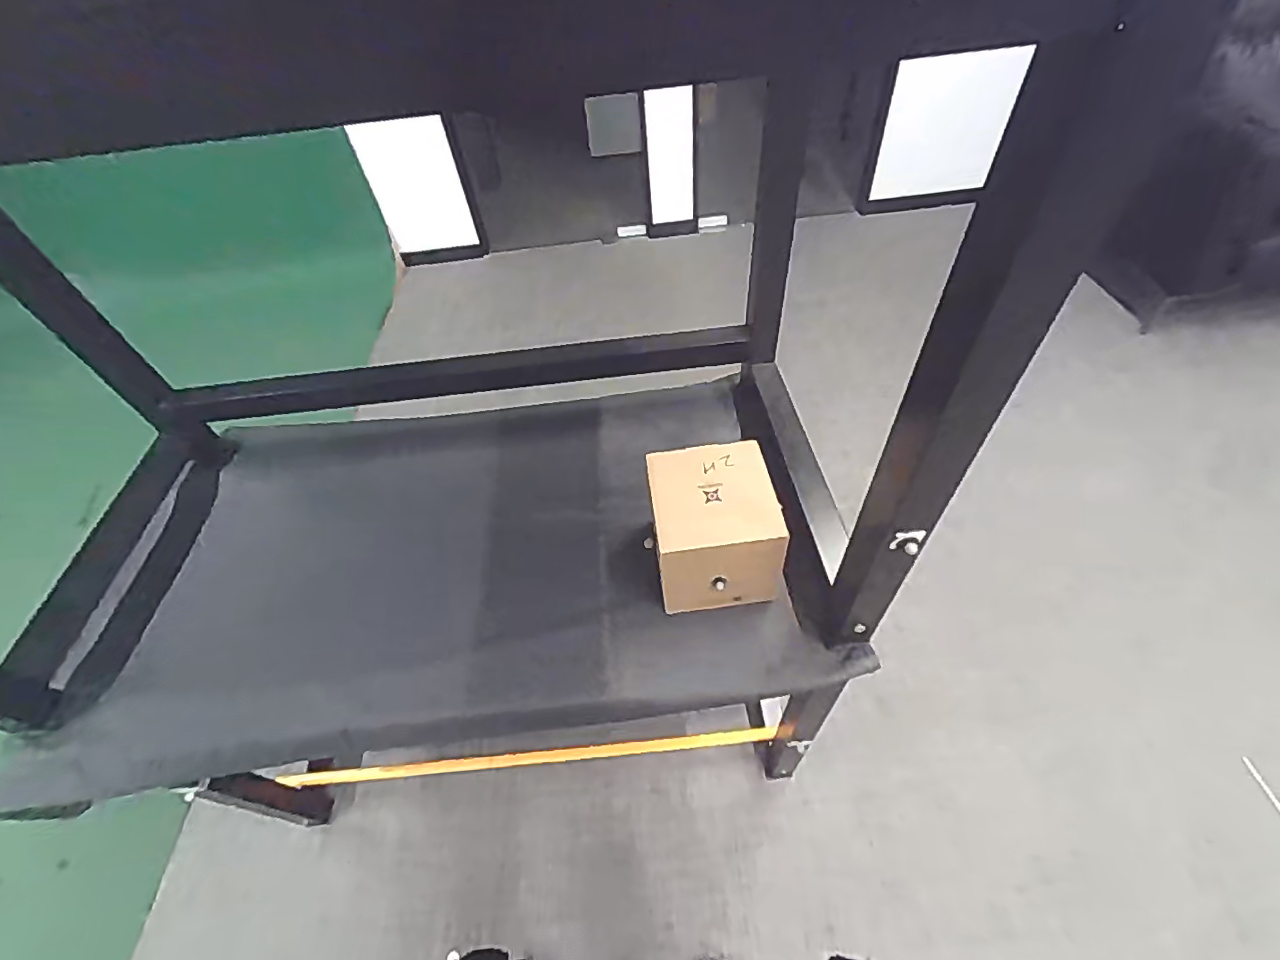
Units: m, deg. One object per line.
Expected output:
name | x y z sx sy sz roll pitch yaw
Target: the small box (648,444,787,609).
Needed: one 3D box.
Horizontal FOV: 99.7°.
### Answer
small box | 0.106 0.075 0.792 0.168 0.176 0.179 -7 49 -1
